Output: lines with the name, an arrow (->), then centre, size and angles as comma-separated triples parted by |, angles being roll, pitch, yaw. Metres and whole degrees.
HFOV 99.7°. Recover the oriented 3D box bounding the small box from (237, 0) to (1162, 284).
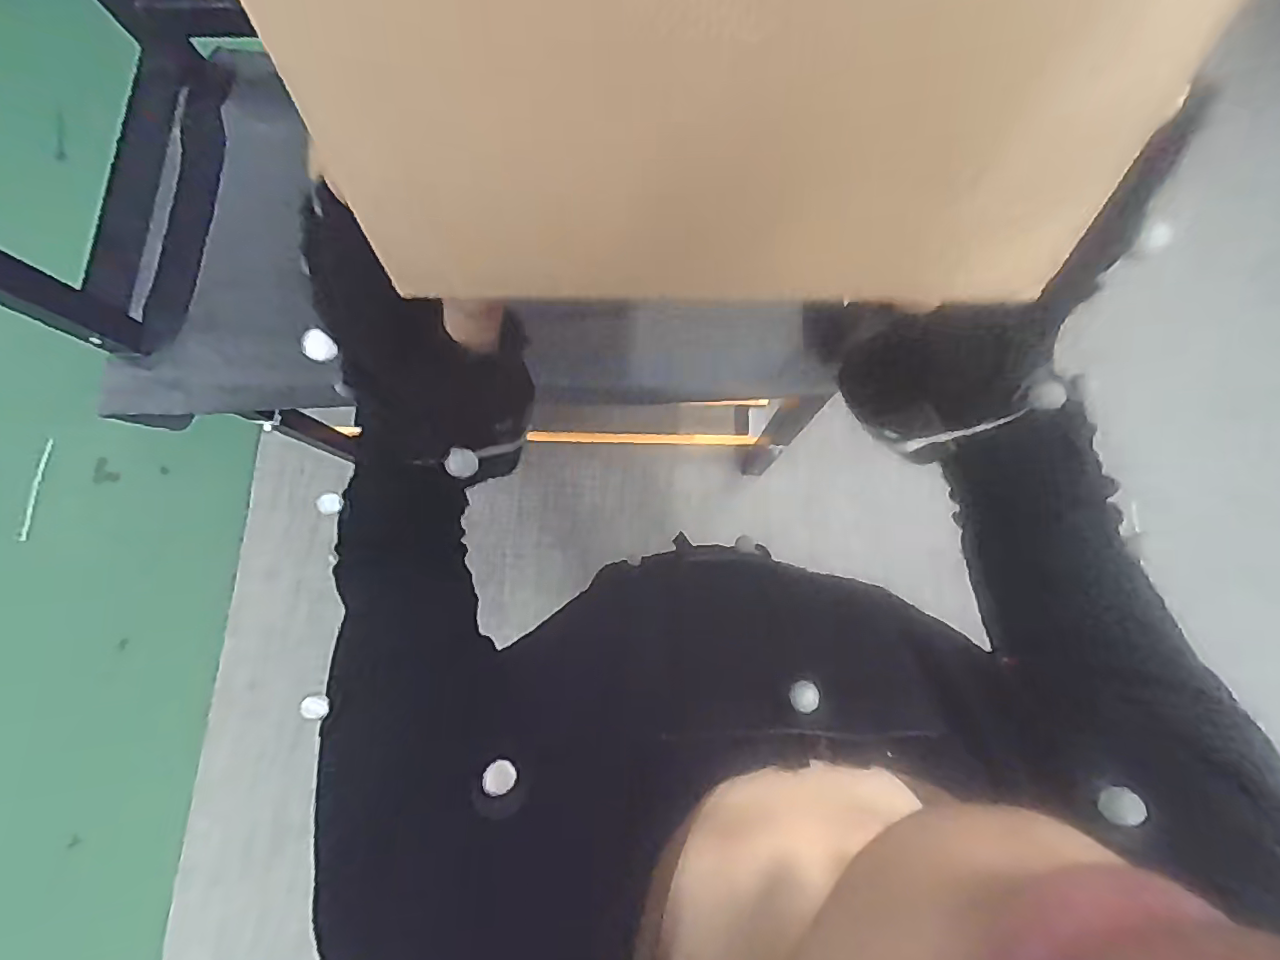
small box -> 0.012, -0.168, 0.117 | 0.168, 0.179, 0.176 | 2, 55, 6
